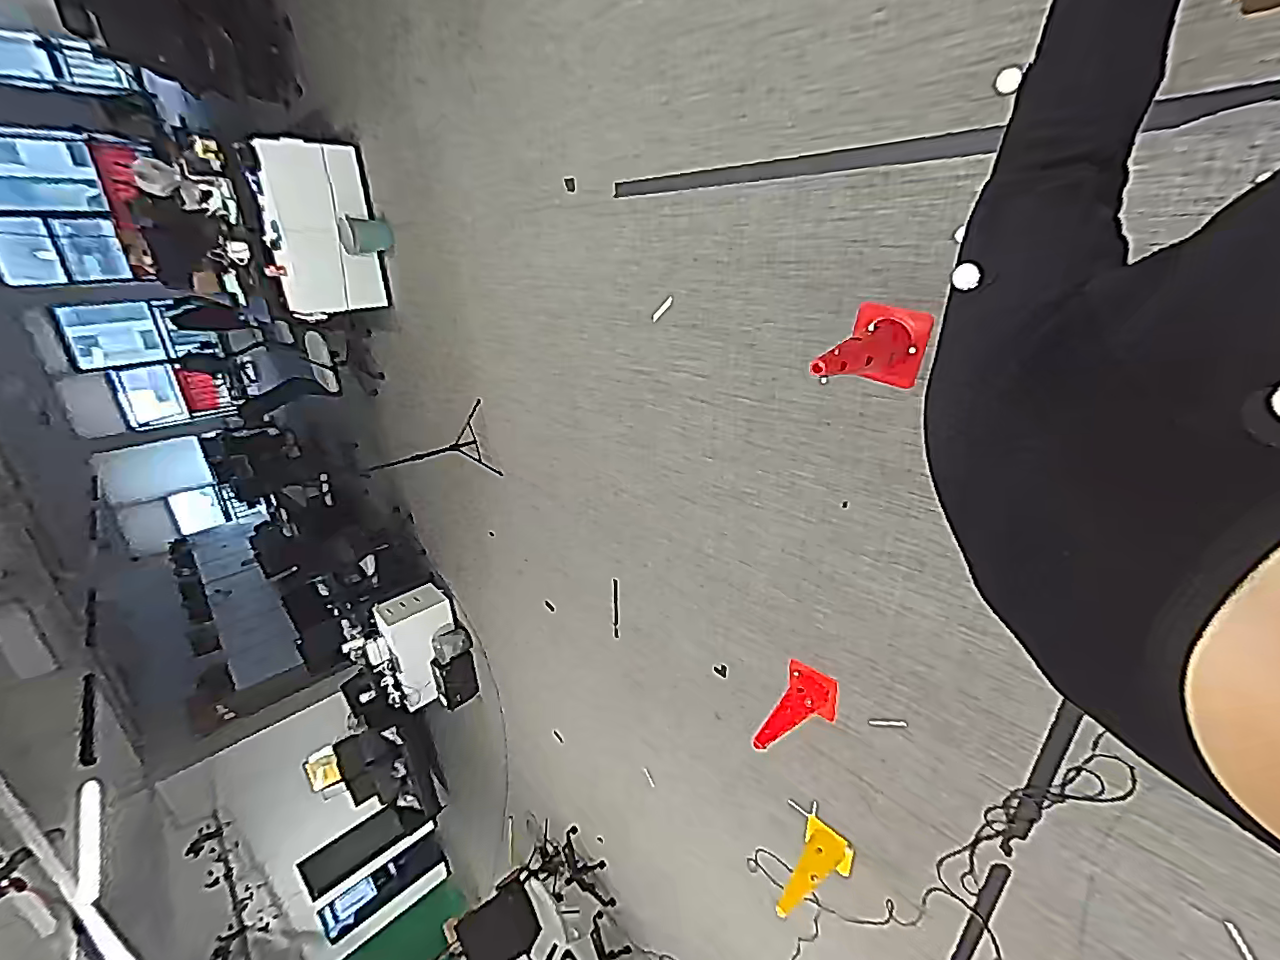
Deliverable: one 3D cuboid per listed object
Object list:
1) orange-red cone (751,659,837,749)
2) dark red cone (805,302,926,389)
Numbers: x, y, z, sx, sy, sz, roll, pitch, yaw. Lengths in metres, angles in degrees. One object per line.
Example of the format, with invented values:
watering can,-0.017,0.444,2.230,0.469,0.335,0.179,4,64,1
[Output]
orange-red cone,0.524,0.844,1.936,0.198,0.360,0.199,21,124,45
dark red cone,0.525,-0.312,1.339,0.201,0.394,0.202,28,128,38
